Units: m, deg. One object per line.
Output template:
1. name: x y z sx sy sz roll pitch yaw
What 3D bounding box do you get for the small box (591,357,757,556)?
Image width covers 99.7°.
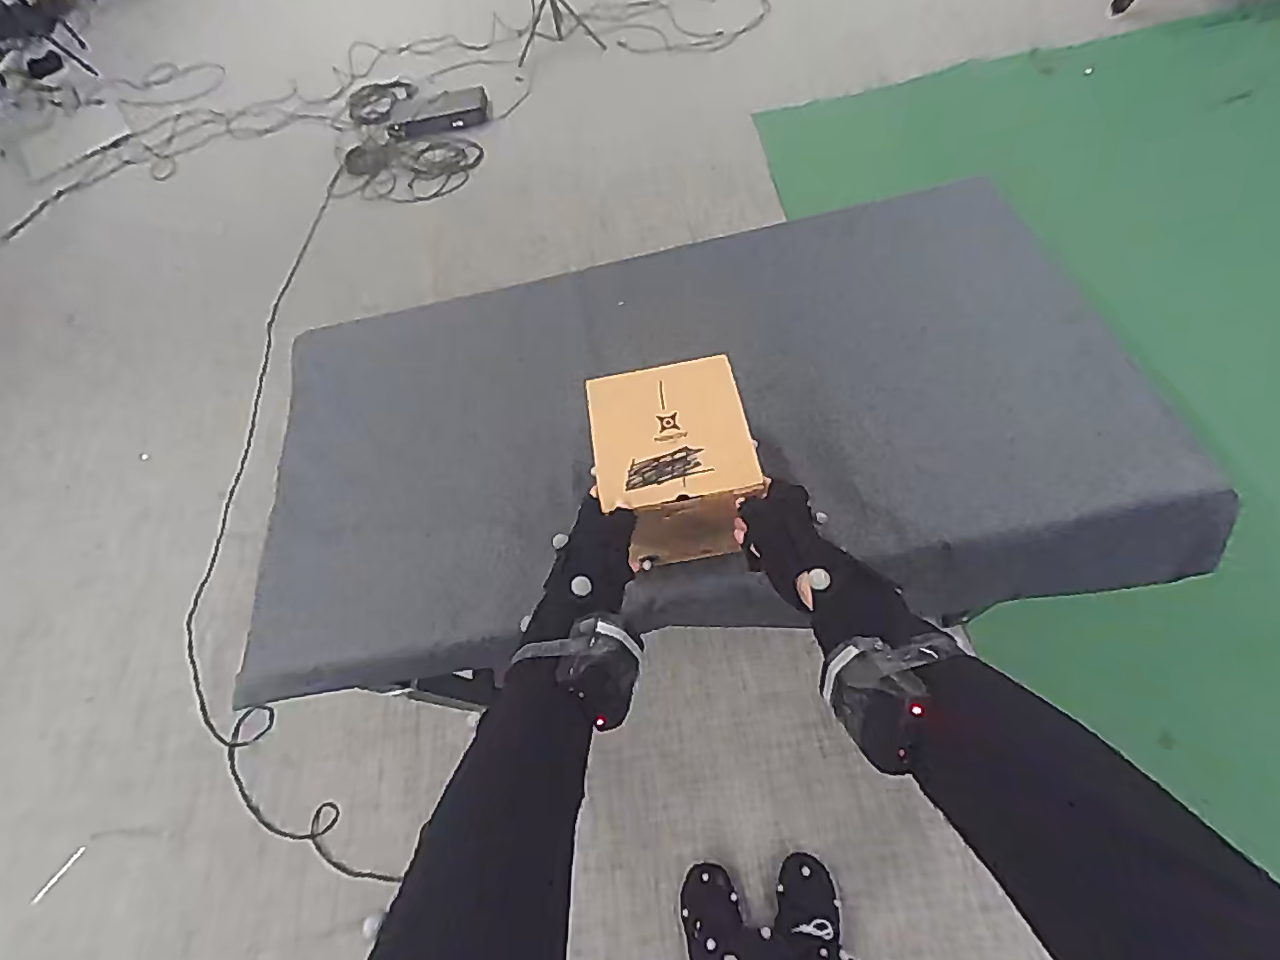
1. small box: 0.043 -0.018 0.663 0.168 0.176 0.179 -10 60 3
